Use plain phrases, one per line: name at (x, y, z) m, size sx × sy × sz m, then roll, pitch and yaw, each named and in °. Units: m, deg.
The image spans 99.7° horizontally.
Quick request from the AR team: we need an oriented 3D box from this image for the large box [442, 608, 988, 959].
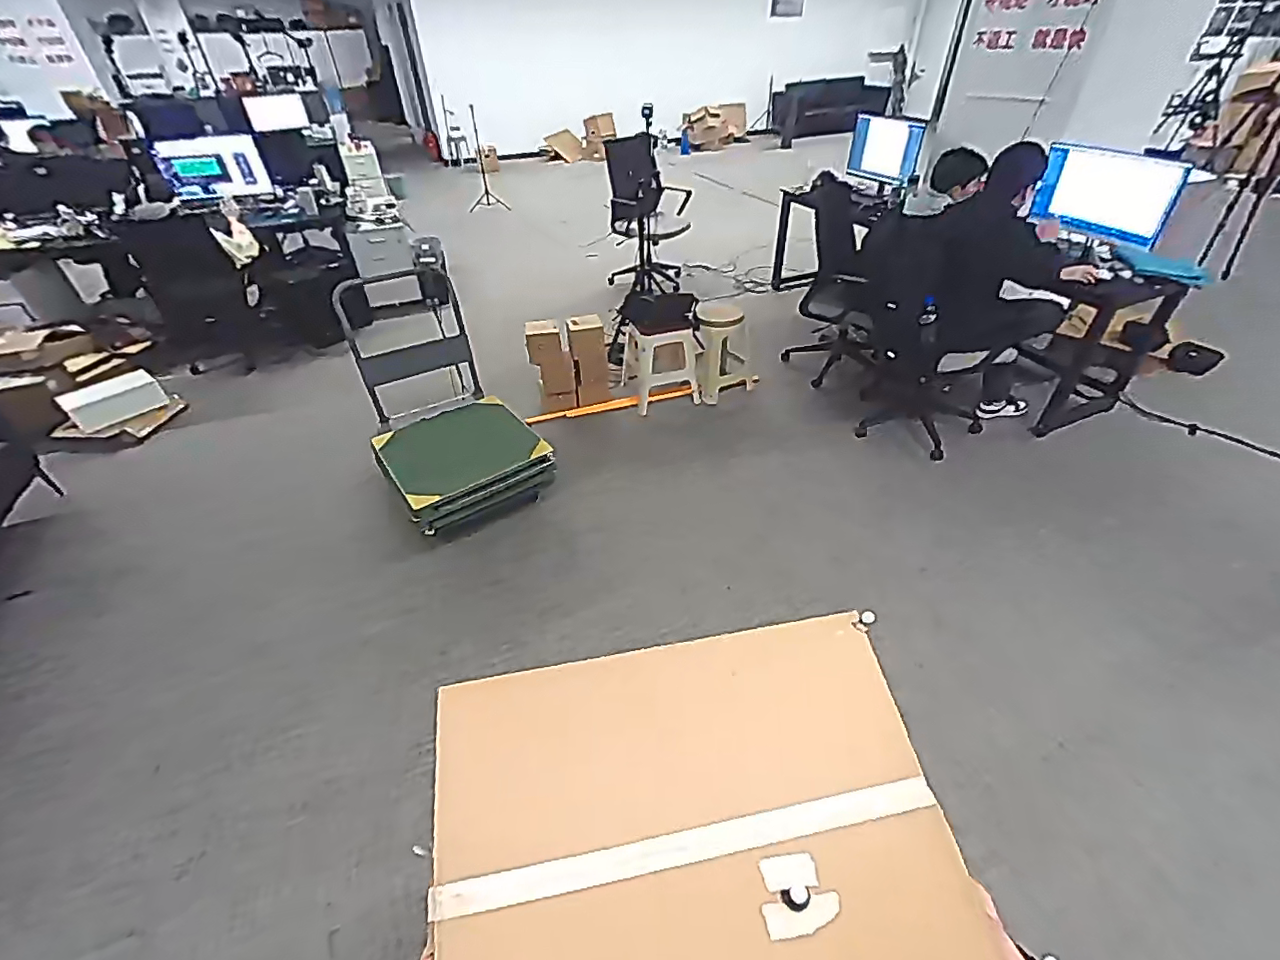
large box at (0.037, 0.366, 0.569) m, size 0.408 × 0.320 × 0.320 m, roll -8°, pitch 59°, yaw -7°
